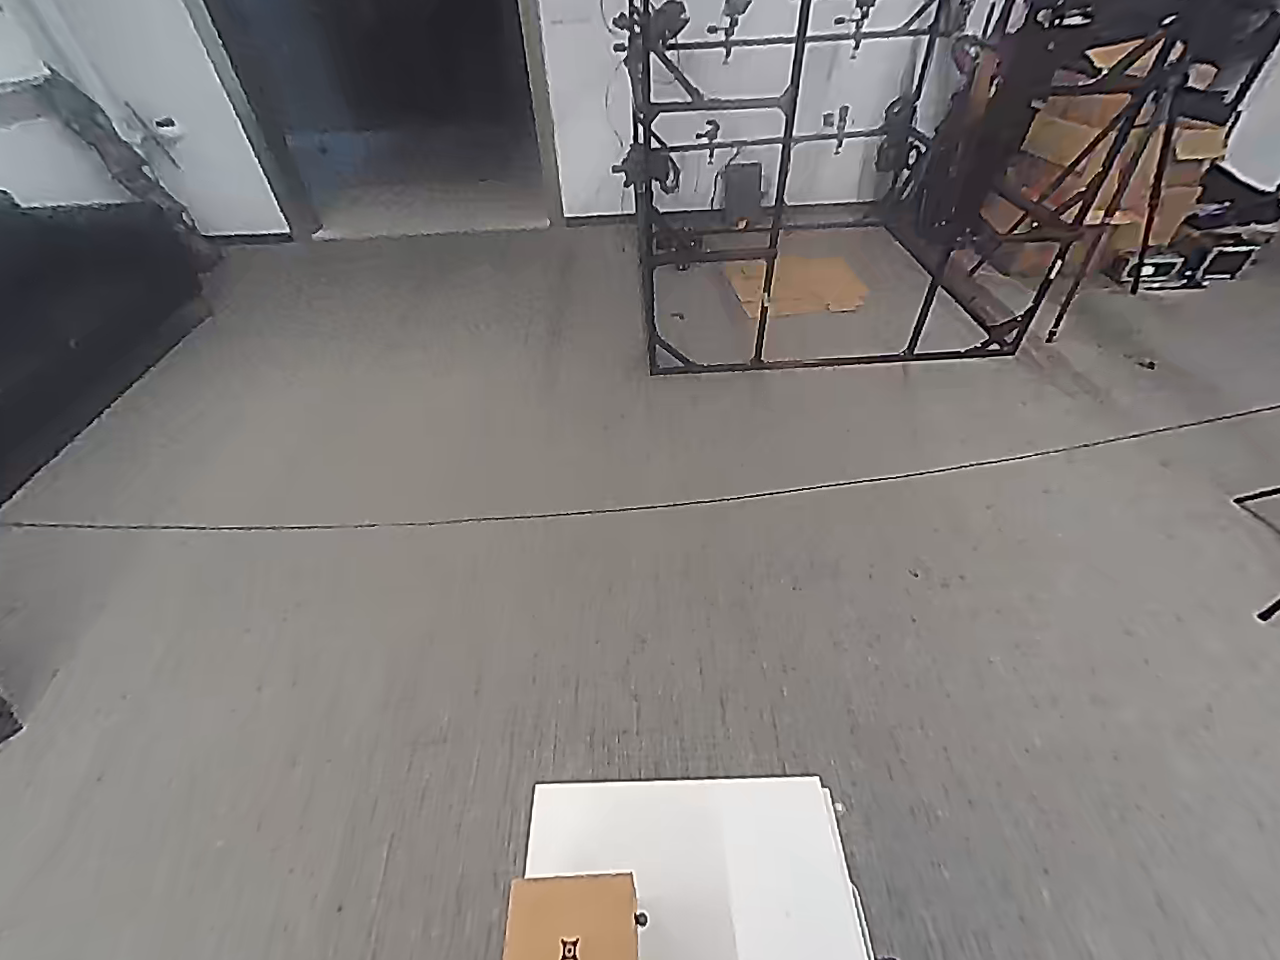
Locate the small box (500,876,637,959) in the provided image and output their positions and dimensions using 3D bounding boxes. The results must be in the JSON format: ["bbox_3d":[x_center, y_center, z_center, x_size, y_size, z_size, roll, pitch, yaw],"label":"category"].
[{"bbox_3d":[-0.090,0.654,0.718,0.168,0.176,0.179,-3,44,1],"label":"small box"}]
